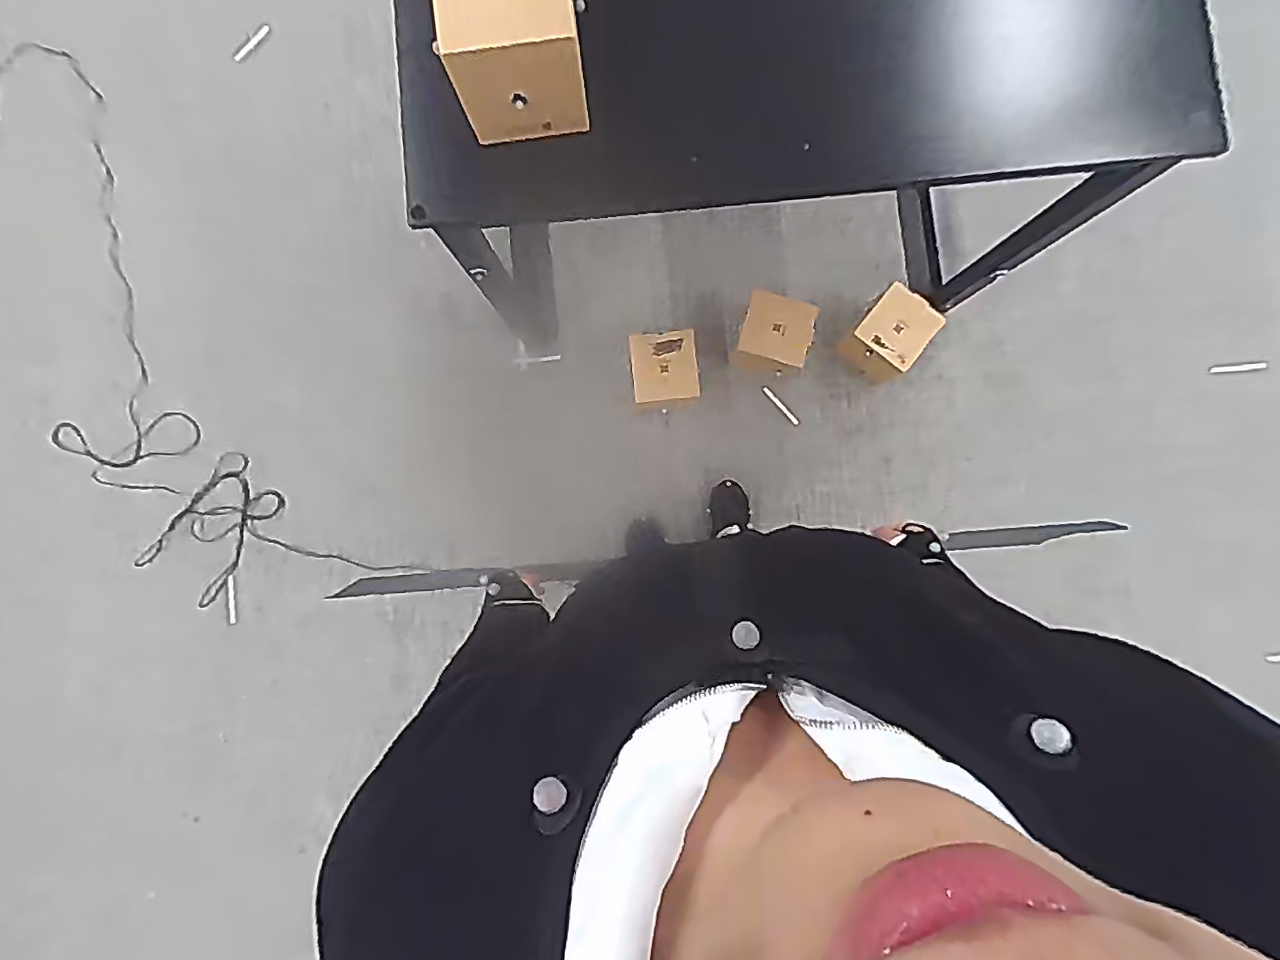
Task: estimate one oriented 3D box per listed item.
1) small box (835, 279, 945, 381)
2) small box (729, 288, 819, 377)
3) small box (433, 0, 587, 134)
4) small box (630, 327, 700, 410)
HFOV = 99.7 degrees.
[{"bbox_3d":[0.652,-0.390,1.437,0.168,0.176,0.179,38,89,2],"label":"small box"},{"bbox_3d":[0.349,-0.385,1.444,0.179,0.176,0.168,16,88,3],"label":"small box"},{"bbox_3d":[-0.168,-0.599,0.726,0.168,0.176,0.179,-8,87,0],"label":"small box"},{"bbox_3d":[0.062,-0.293,1.443,0.168,0.176,0.179,-6,89,1],"label":"small box"}]
